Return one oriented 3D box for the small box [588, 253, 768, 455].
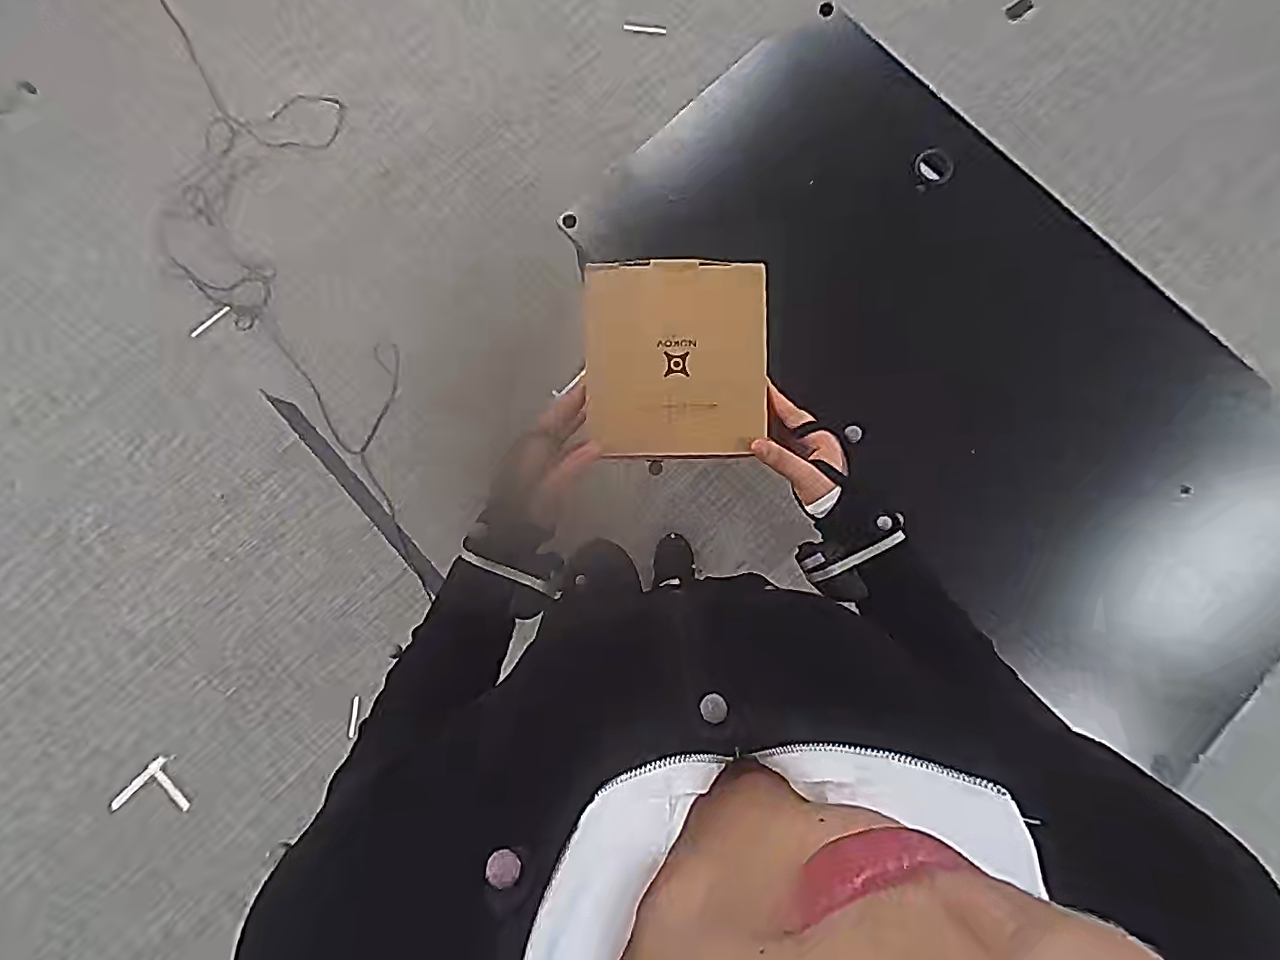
[{"bbox_3d":[0.031,-0.118,0.567,0.168,0.176,0.179,-1,91,-2],"label":"small box"}]
